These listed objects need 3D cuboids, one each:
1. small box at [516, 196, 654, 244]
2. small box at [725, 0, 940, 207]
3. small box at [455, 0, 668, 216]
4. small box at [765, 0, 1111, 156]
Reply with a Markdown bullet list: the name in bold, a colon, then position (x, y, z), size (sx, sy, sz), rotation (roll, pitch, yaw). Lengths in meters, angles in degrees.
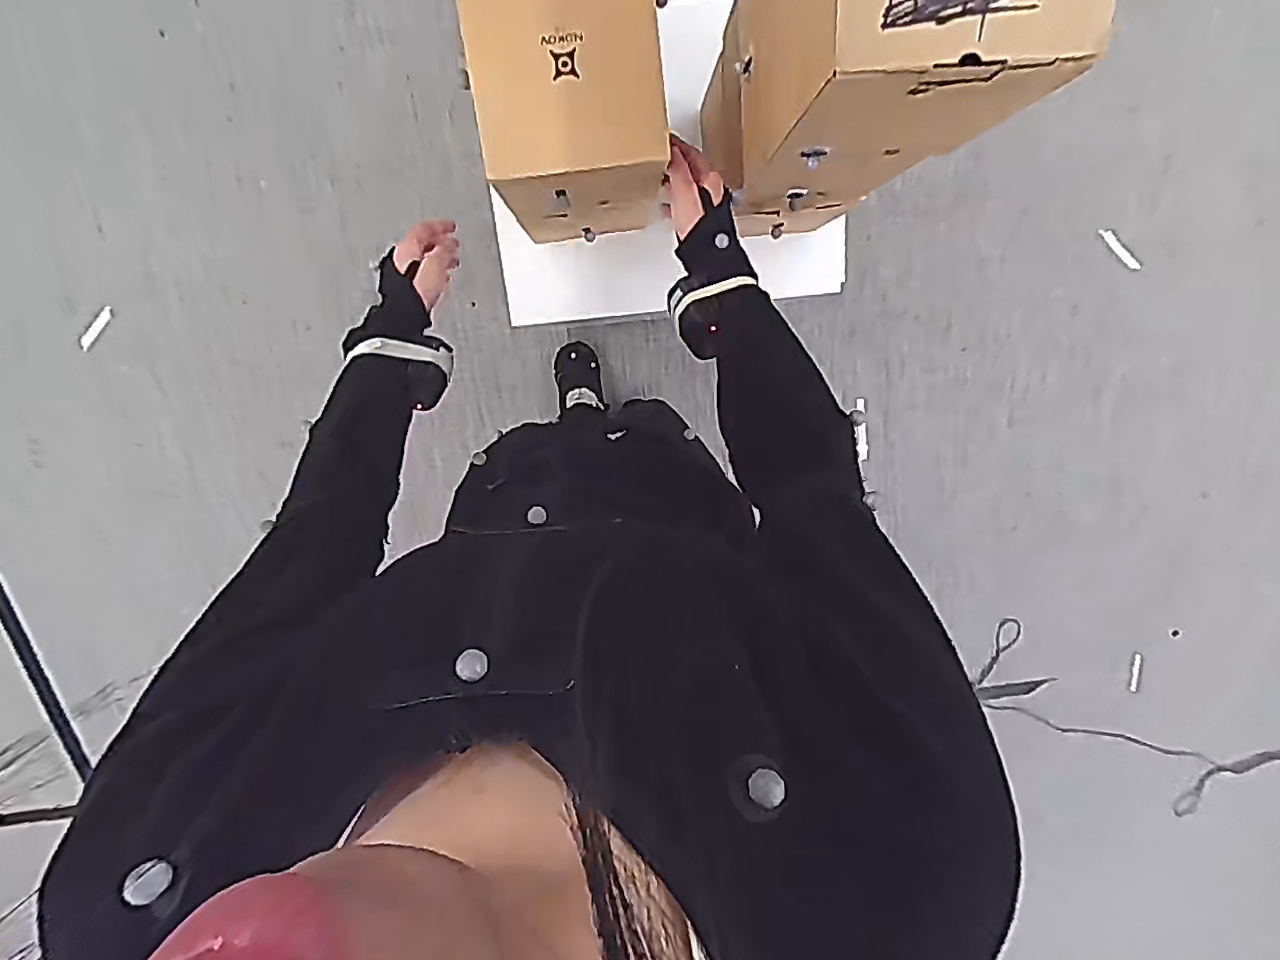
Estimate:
- **small box**: position (-0.079, -0.417, 0.688), size (0.168, 0.176, 0.179), rotation (-9, 105, -1)
- **small box**: position (0.182, -0.392, 0.540), size (0.168, 0.176, 0.179), rotation (-5, 105, 0)
- **small box**: position (-0.068, -0.373, 0.532), size (0.168, 0.176, 0.179), rotation (-8, 104, -1)
- **small box**: position (0.190, -0.348, 0.382), size (0.168, 0.176, 0.179), rotation (-4, 103, -1)
